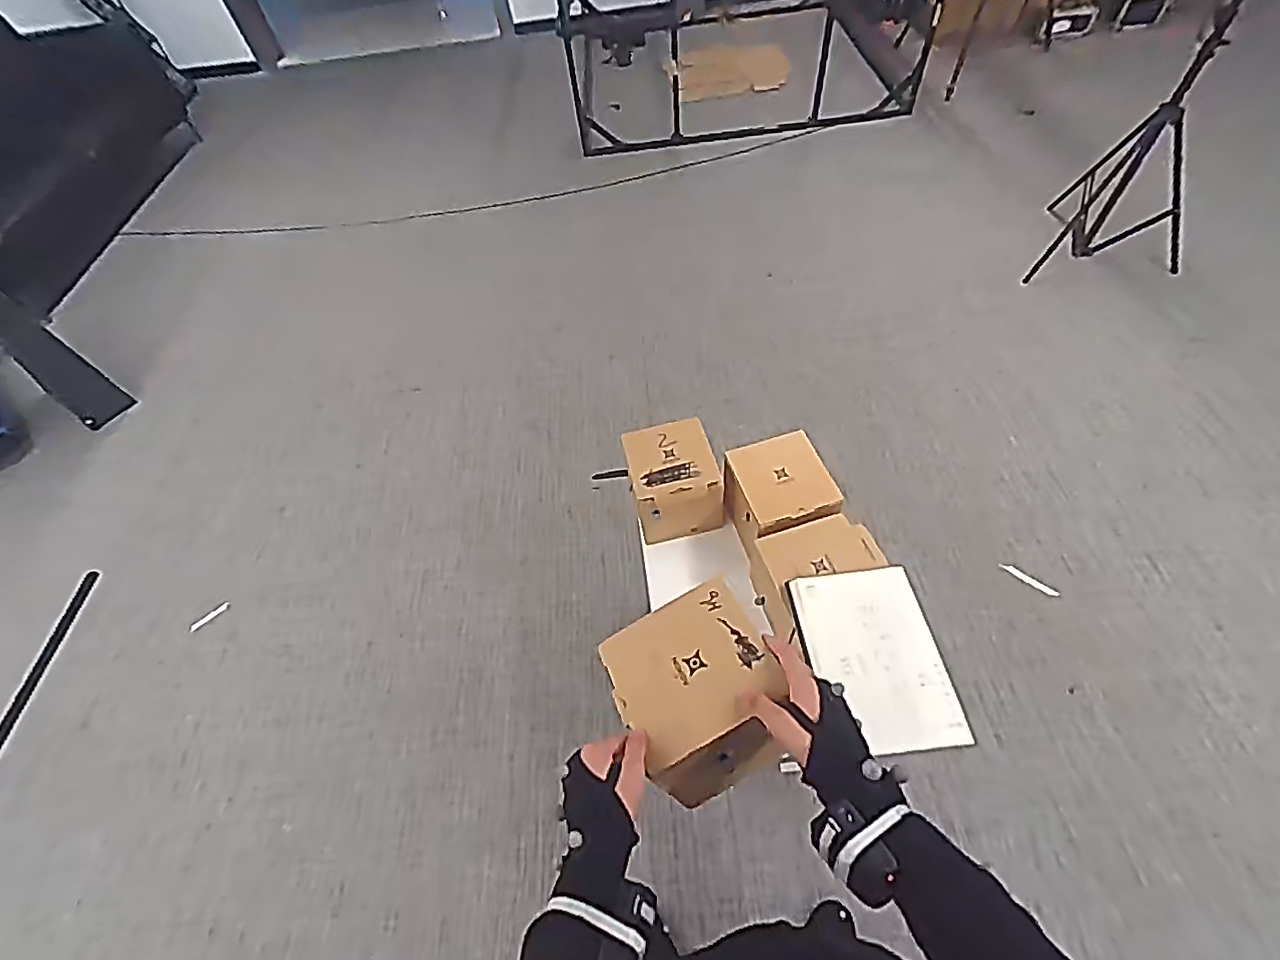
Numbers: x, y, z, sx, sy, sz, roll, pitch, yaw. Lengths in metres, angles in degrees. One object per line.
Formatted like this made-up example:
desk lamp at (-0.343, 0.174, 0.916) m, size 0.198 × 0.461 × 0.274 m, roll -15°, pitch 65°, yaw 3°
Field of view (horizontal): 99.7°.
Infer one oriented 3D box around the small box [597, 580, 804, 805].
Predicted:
small box at (0.078, 0.263, 0.658) m, size 0.179 × 0.176 × 0.168 m, roll -30°, pitch 46°, yaw -3°
